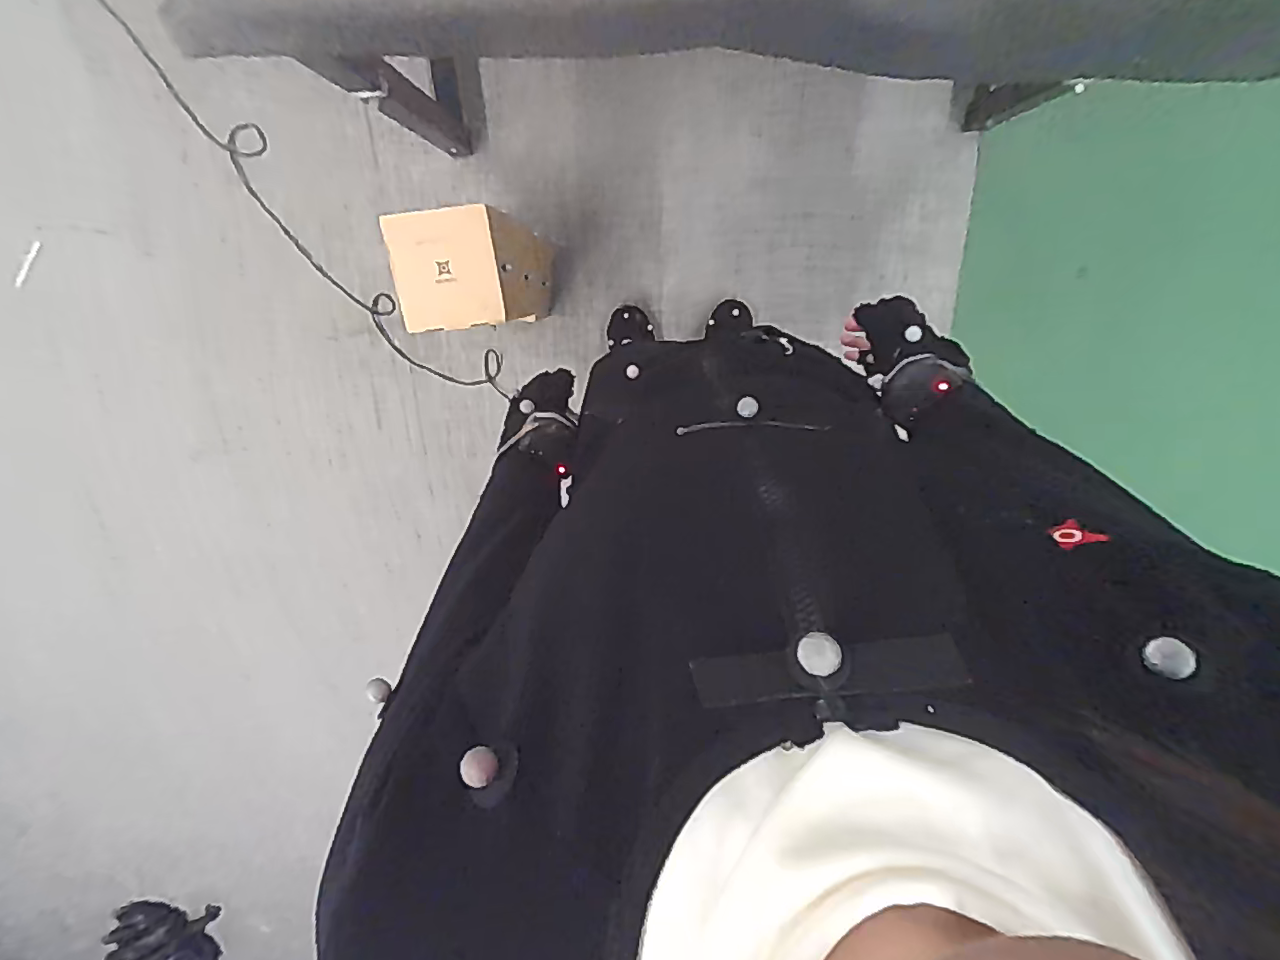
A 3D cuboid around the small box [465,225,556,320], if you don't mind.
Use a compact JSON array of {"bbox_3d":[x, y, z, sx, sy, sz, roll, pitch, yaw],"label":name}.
[{"bbox_3d":[-0.287,-0.465,1.221,0.168,0.176,0.179,6,111,-1],"label":"small box"}]
